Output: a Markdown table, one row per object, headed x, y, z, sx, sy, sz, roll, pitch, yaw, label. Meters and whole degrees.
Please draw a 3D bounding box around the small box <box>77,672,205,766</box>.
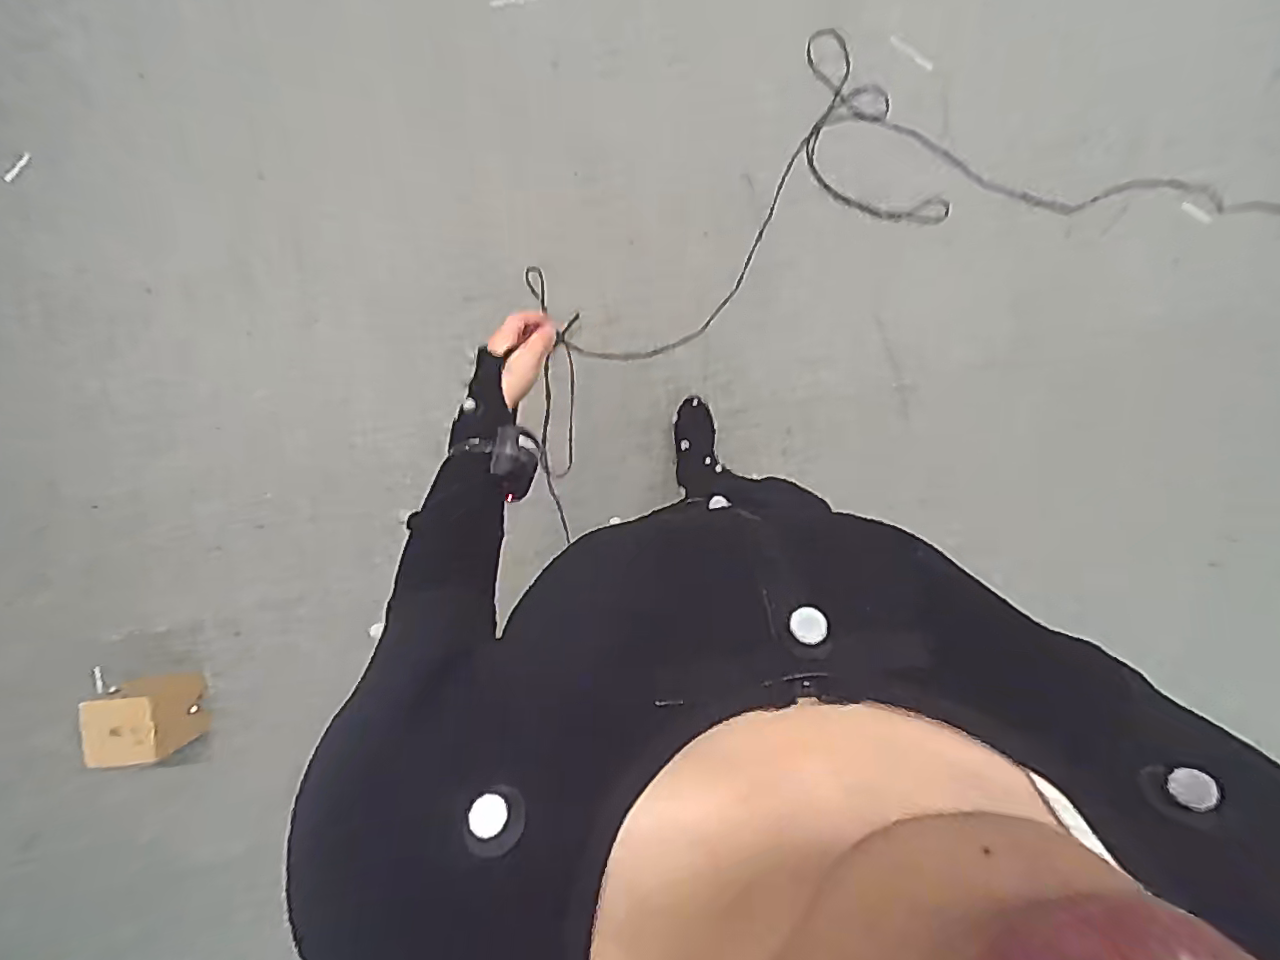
| x | y | z | sx | sy | sz | roll | pitch | yaw | label |
| --- | --- | --- | --- | --- | --- | --- | --- | --- | --- |
| -1.276 | 0.609 | 1.392 | 0.179 | 0.176 | 0.168 | -4 | 92 | 0 | small box |
